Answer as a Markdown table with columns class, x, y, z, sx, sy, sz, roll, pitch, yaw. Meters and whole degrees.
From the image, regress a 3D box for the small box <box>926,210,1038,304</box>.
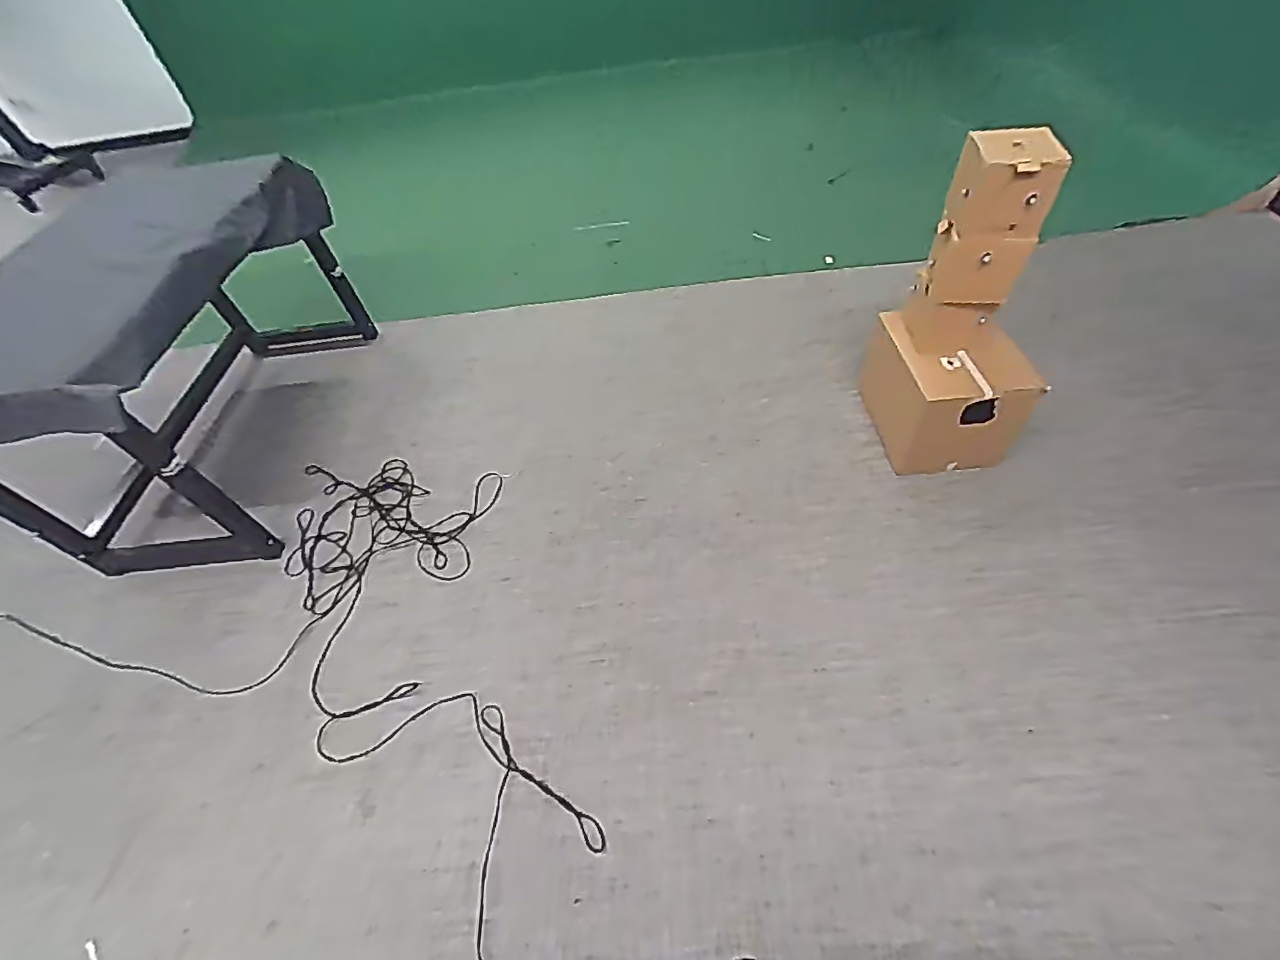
| class | x | y | z | sx | sy | sz | roll | pitch | yaw |
| --- | --- | --- | --- | --- | --- | --- | --- | --- | --- |
| small box | 0.842 | -0.557 | 1.350 | 0.179 | 0.176 | 0.168 | 4 | 53 | 12 |

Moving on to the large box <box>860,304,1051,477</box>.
| class | x | y | z | sx | sy | sz | roll | pitch | yaw |
| --- | --- | --- | --- | --- | --- | --- | --- | --- | --- |
| large box | 0.908 | -0.269 | 1.633 | 0.320 | 0.320 | 0.408 | -7 | 52 | 4 |

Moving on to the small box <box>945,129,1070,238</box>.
| class | x | y | z | sx | sy | sz | roll | pitch | yaw |
| --- | --- | --- | --- | --- | --- | --- | --- | --- | --- |
| small box | 0.824 | -0.670 | 1.233 | 0.168 | 0.176 | 0.179 | 3 | 51 | 9 |
